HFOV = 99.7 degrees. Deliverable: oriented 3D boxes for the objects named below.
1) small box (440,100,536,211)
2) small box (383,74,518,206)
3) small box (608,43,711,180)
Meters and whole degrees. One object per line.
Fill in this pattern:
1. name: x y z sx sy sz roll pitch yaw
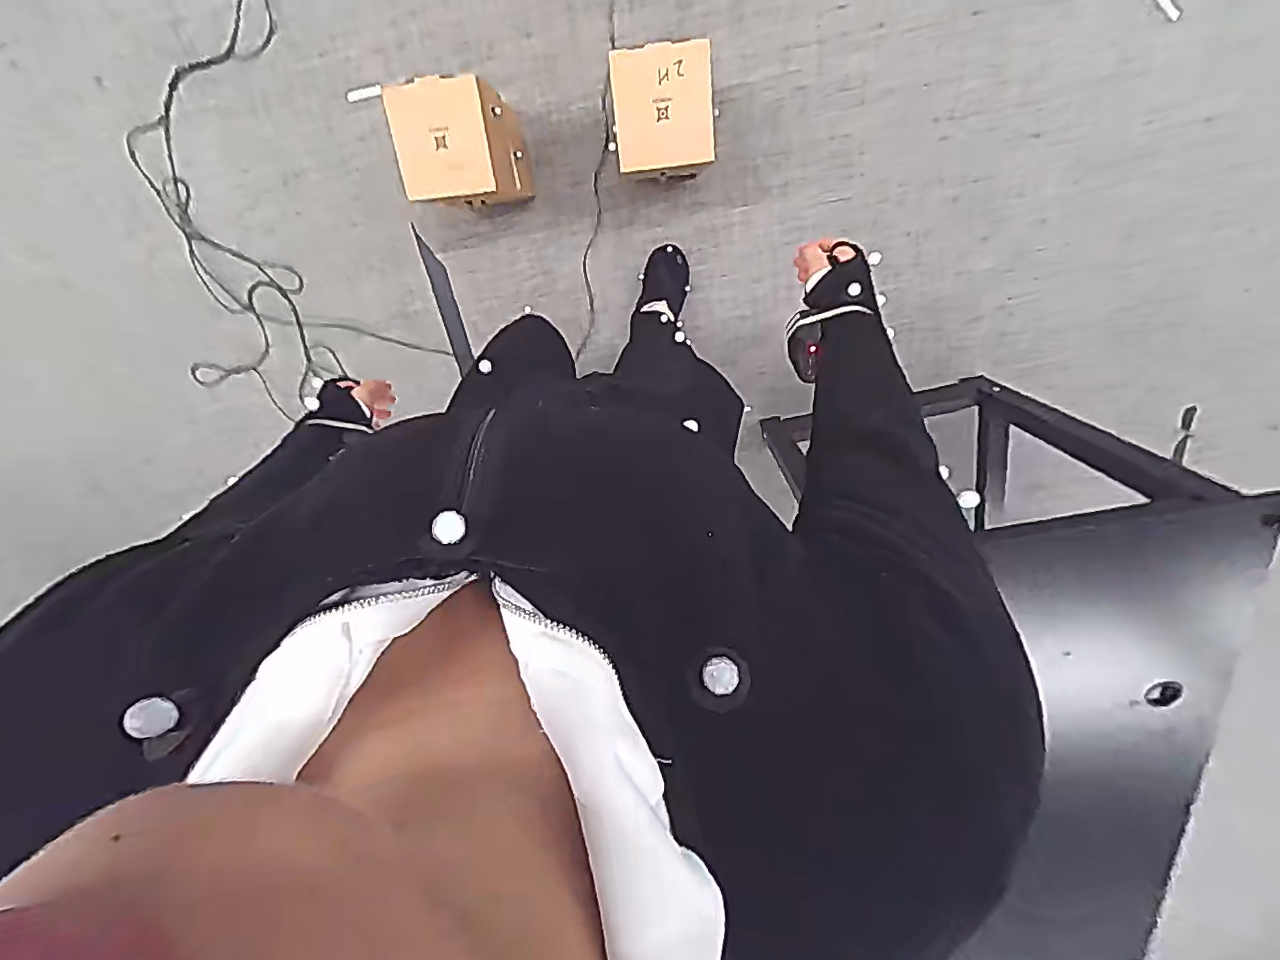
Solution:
1. small box: -0.340 -0.683 1.157 0.179 0.176 0.168 -9 114 6
2. small box: -0.340 -0.619 1.006 0.168 0.176 0.179 -5 115 5
3. small box: 0.037 -0.652 0.980 0.168 0.176 0.179 -6 114 2
